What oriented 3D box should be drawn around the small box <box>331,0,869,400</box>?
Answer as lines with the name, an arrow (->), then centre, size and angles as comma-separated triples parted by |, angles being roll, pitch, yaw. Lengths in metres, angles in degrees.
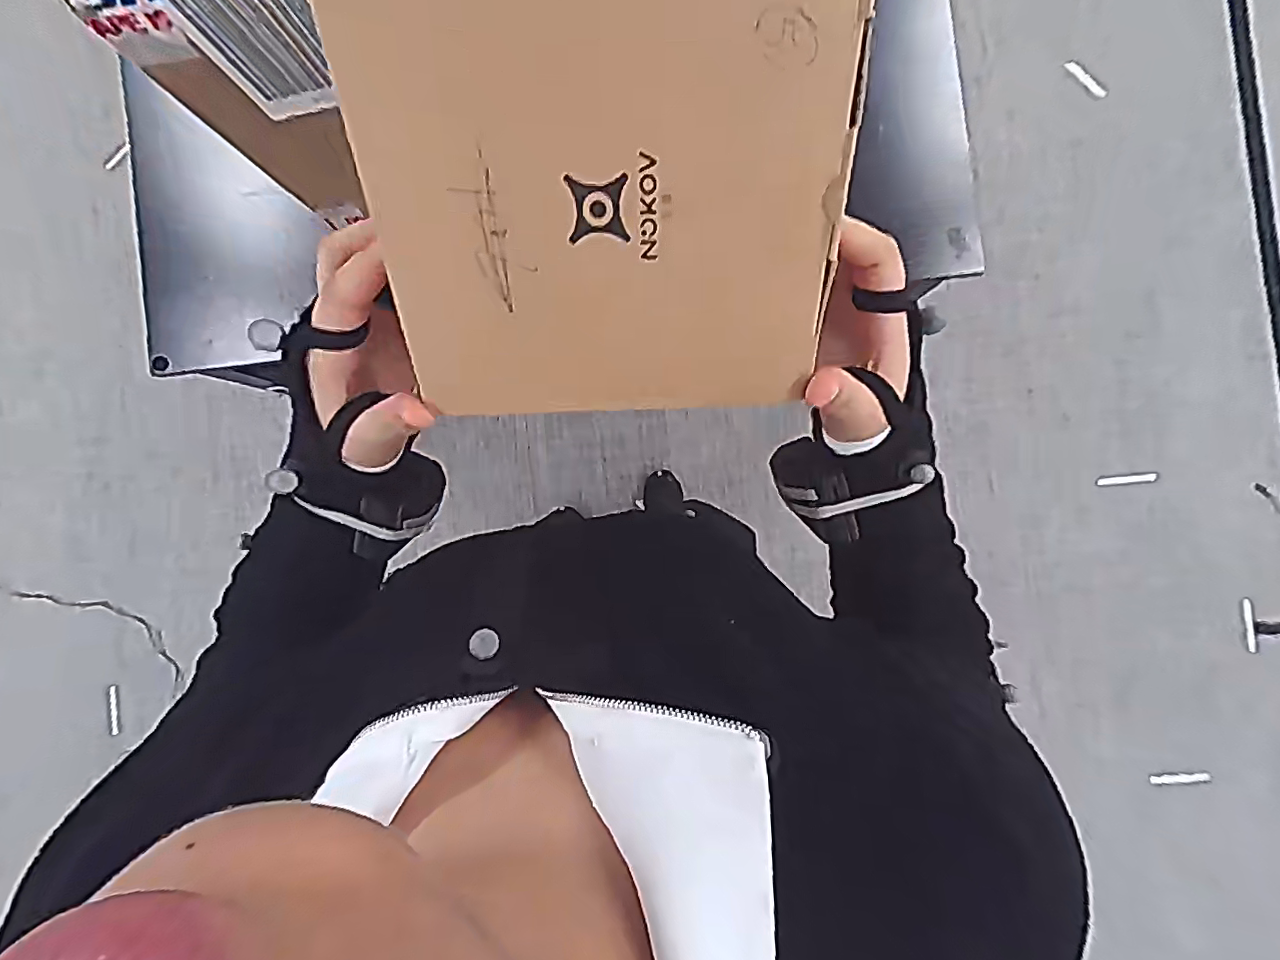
small box -> -0.013, -0.153, 0.272 | 0.179, 0.176, 0.168 | -2, 124, 0
